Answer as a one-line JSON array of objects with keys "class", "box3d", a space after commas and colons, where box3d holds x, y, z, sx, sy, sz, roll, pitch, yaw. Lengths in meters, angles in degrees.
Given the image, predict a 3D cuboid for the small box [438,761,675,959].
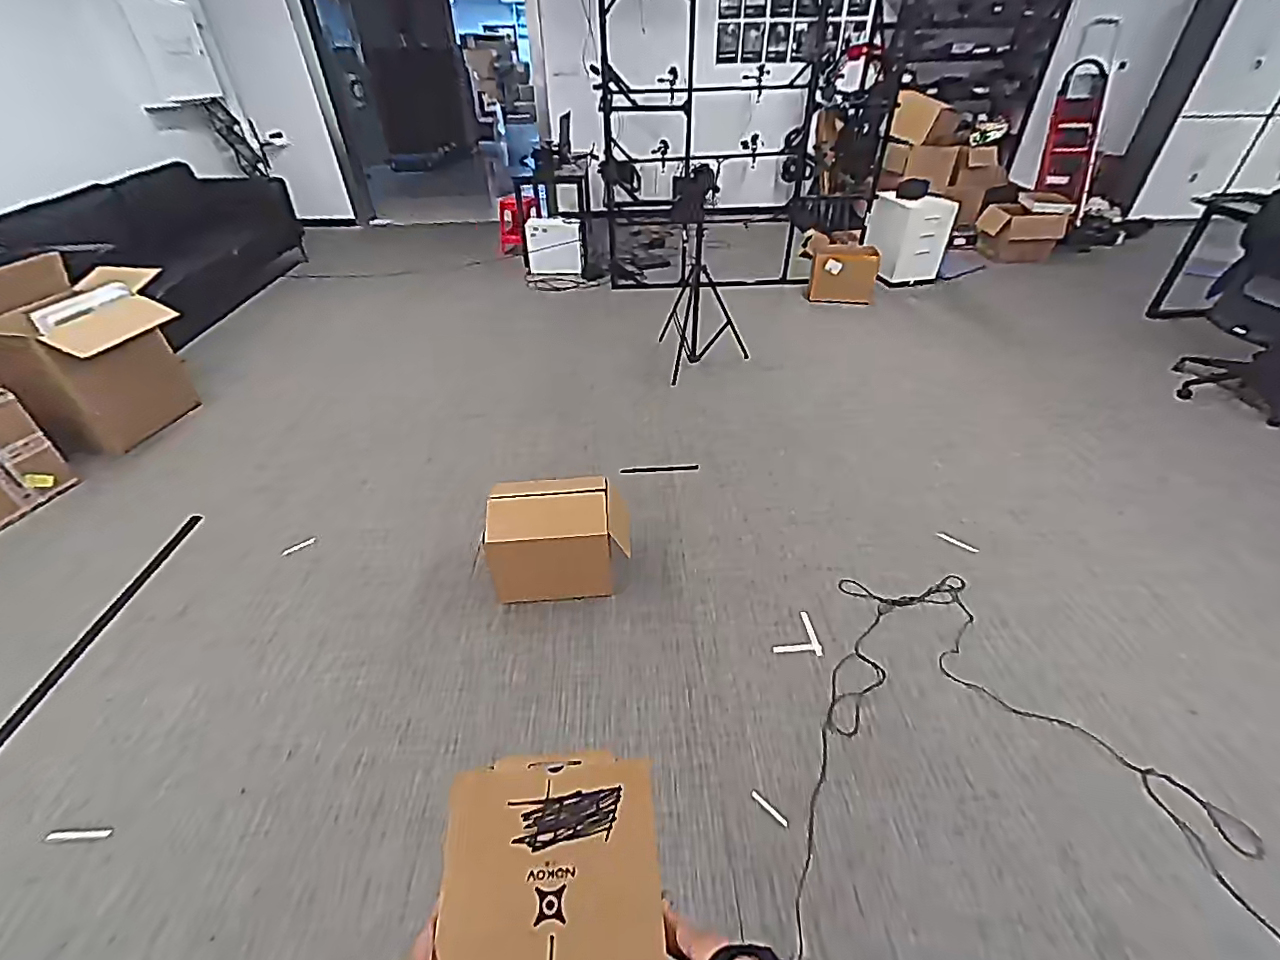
[{"class": "small box", "box3d": [-0.063, 0.357, 0.457, 0.168, 0.176, 0.179, -1, 50, -4]}]
